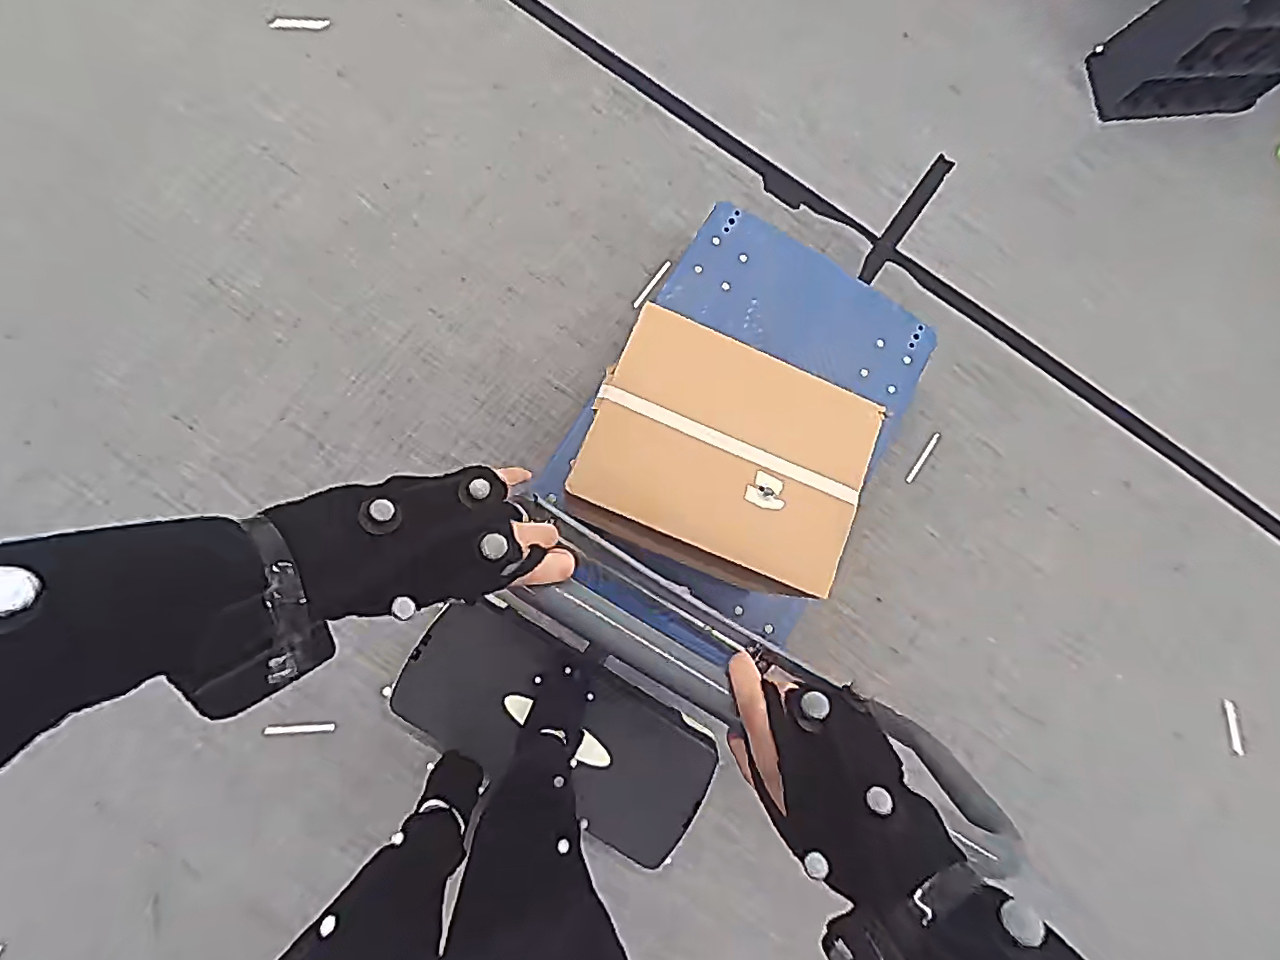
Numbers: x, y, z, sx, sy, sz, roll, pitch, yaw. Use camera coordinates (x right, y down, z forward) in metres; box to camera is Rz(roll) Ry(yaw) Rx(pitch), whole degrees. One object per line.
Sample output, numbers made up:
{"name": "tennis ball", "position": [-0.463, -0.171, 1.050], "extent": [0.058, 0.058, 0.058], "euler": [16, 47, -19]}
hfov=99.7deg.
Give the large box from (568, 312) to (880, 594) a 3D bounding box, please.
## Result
{"name": "large box", "position": [0.117, -0.021, 0.941], "extent": [0.408, 0.320, 0.320], "euler": [23, 79, -4]}
